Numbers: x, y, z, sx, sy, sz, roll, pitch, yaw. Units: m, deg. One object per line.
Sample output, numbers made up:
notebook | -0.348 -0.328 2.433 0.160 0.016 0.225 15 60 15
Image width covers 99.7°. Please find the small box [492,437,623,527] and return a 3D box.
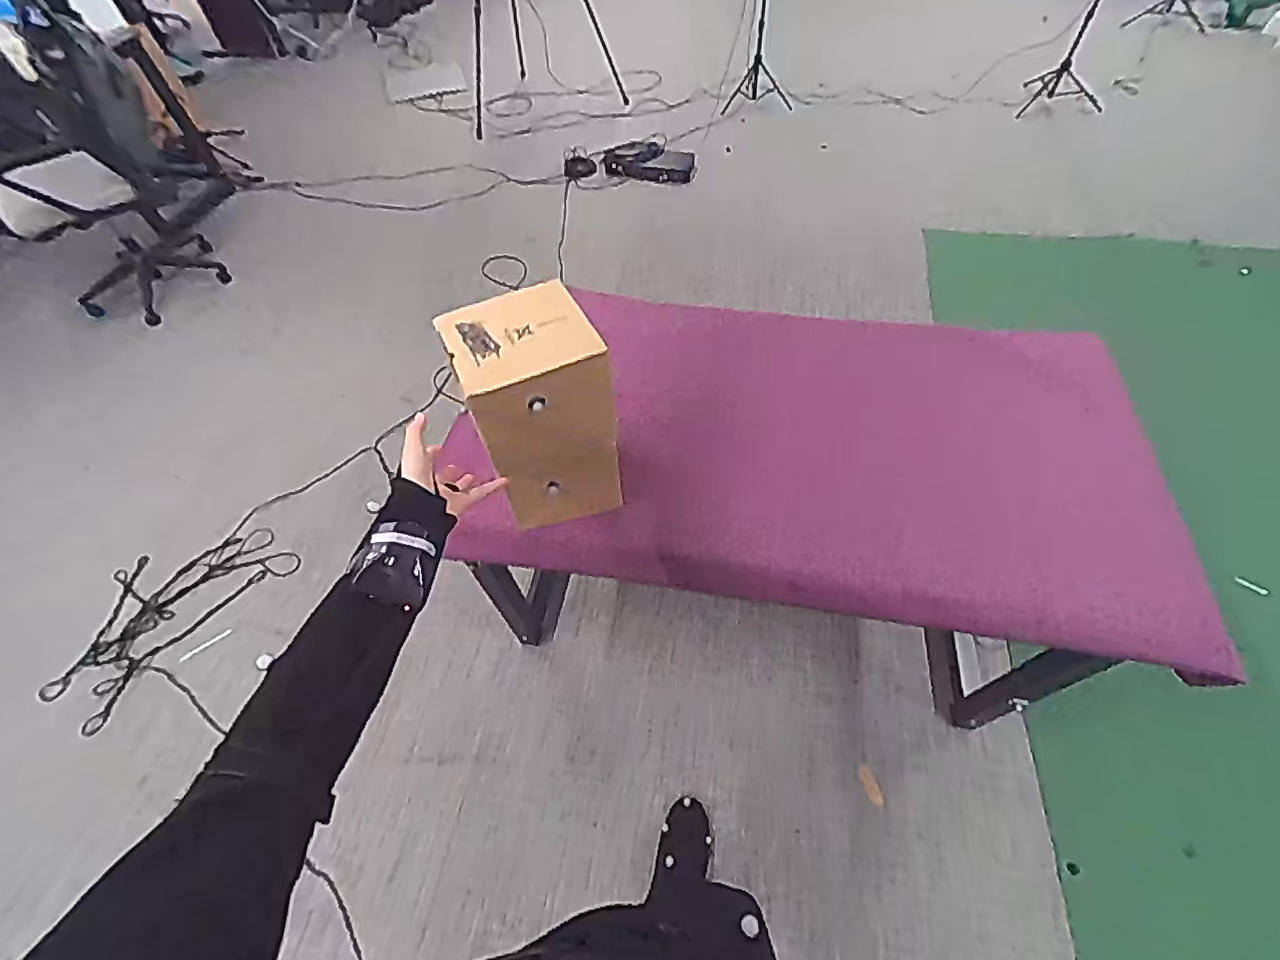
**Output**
small box | -0.133 -0.045 0.870 0.179 0.176 0.168 -13 54 -6

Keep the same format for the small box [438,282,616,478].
small box | -0.144 -0.130 0.728 0.179 0.176 0.168 -22 55 -14
